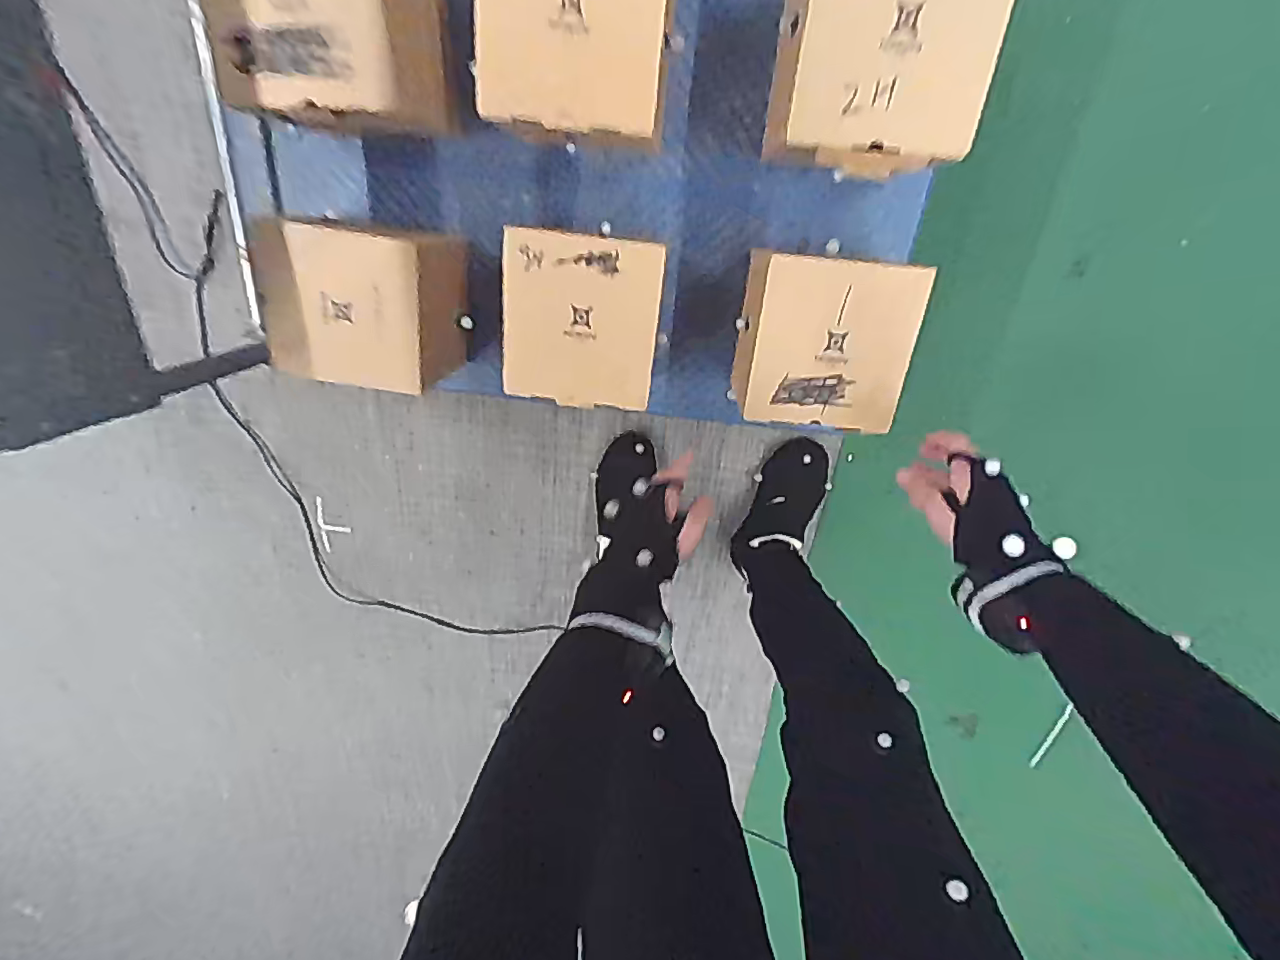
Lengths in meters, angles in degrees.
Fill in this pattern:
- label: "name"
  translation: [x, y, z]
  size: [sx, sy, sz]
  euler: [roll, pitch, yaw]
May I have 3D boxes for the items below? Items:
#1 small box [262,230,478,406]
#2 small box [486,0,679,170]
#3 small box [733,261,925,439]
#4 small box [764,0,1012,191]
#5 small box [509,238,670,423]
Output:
- label: "small box"
  translation: [-0.315, -0.204, 0.666]
  size: [0.179, 0.176, 0.168]
  euler: [9, 115, -1]
- label: "small box"
  translation: [-0.051, -0.429, 0.548]
  size: [0.168, 0.176, 0.179]
  euler: [7, 116, 0]
- label: "small box"
  translation: [0.212, -0.166, 0.665]
  size: [0.168, 0.176, 0.179]
  euler: [6, 114, 1]
- label: "small box"
  translation: [0.227, -0.400, 0.539]
  size: [0.168, 0.176, 0.179]
  euler: [7, 115, 2]
- label: "small box"
  translation: [-0.055, -0.187, 0.656]
  size: [0.168, 0.176, 0.179]
  euler: [7, 115, 0]
